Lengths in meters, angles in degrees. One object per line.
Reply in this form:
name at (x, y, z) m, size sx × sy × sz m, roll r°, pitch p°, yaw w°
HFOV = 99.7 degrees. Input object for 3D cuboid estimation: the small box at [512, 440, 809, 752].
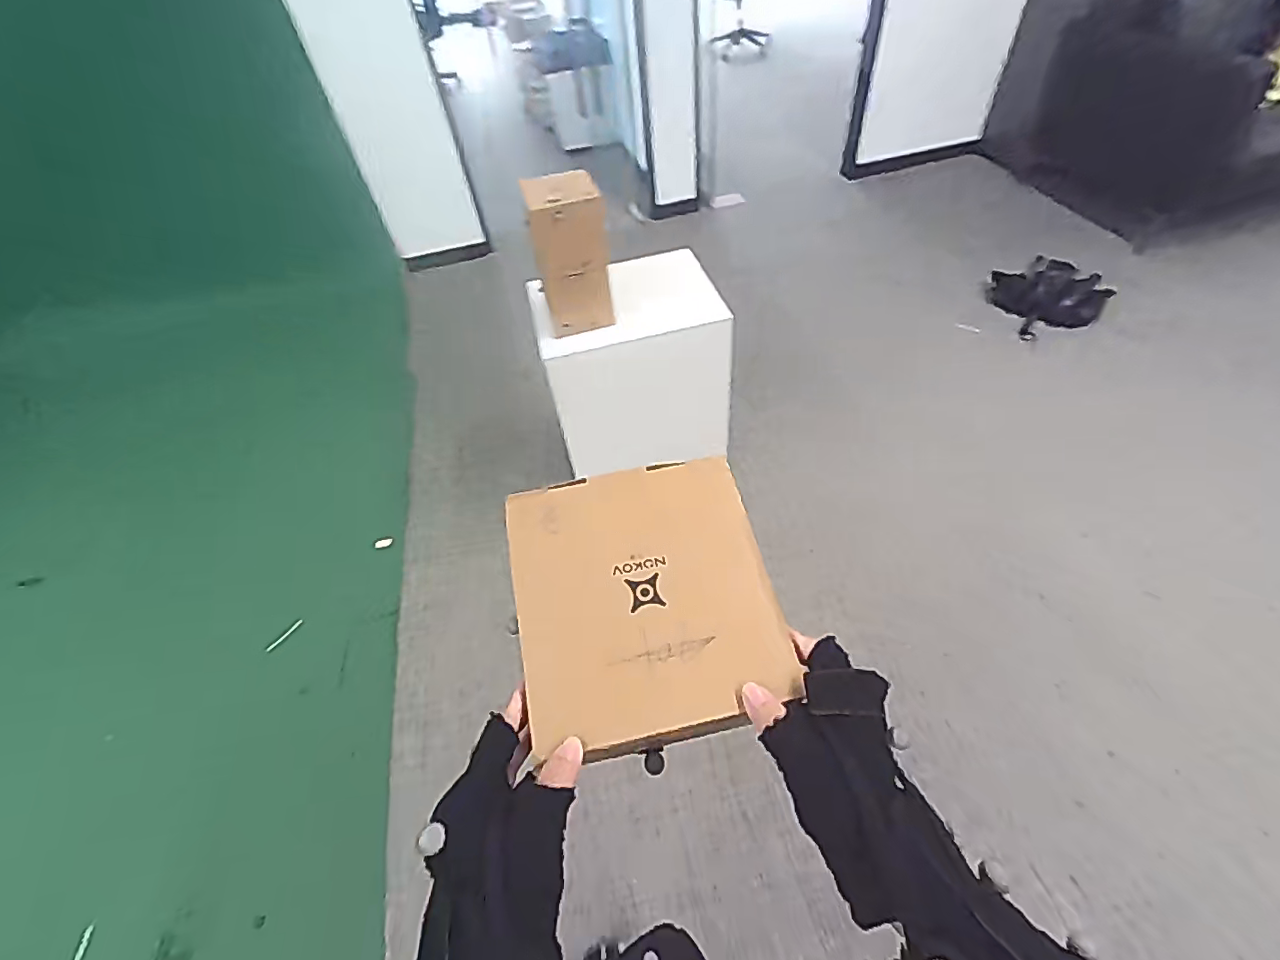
small box at (0.002, 0.096, 0.417) m, size 0.168 × 0.176 × 0.179 m, roll -10°, pitch 61°, yaw -6°

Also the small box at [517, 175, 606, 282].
small box at (-0.188, -0.606, 1.304) m, size 0.168 × 0.176 × 0.179 m, roll -16°, pitch 49°, yaw -7°

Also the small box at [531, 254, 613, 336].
small box at (-0.176, -0.499, 1.427) m, size 0.168 × 0.176 × 0.179 m, roll -16°, pitch 49°, yaw -7°
